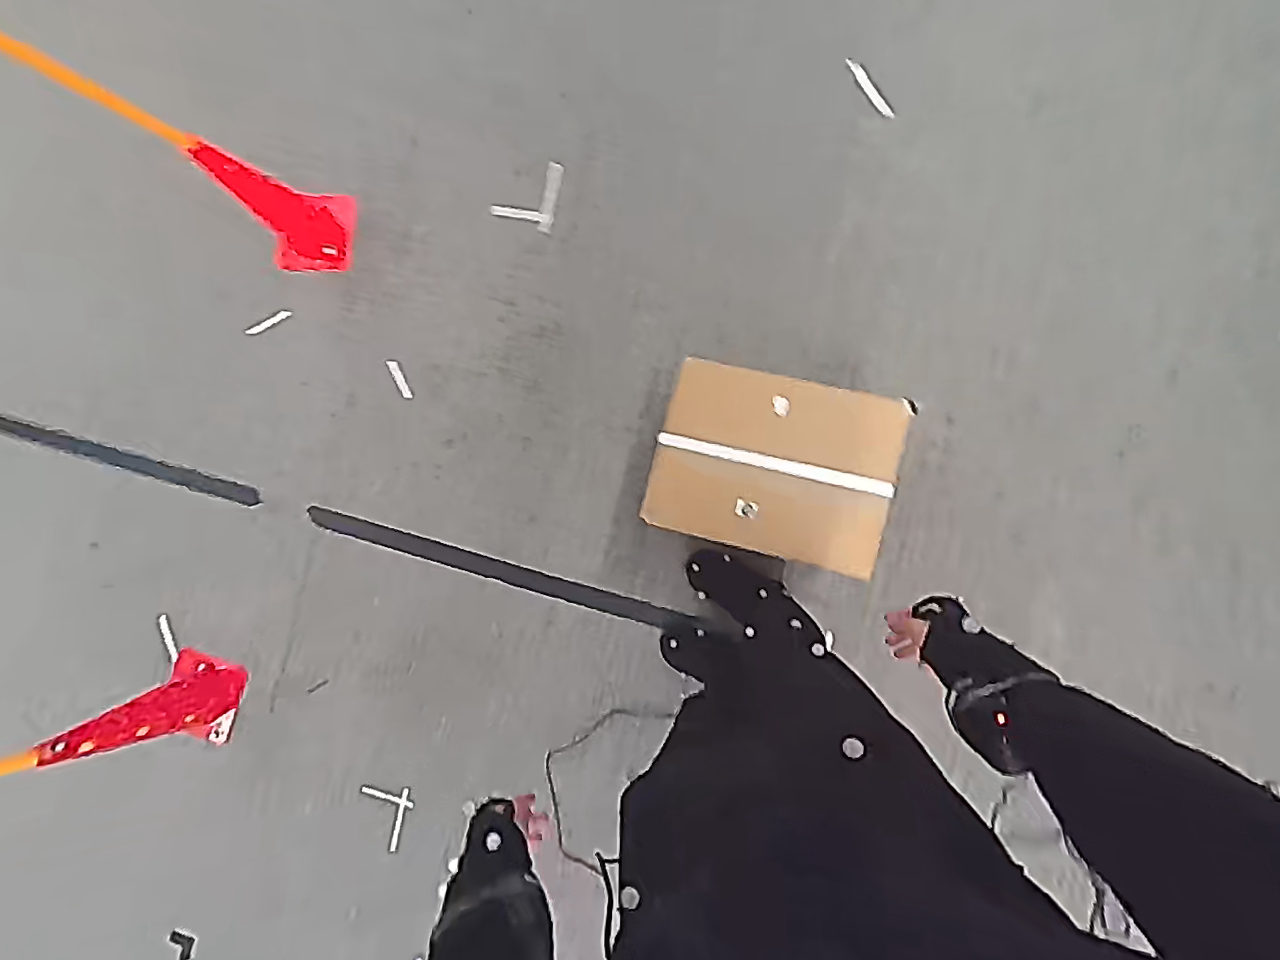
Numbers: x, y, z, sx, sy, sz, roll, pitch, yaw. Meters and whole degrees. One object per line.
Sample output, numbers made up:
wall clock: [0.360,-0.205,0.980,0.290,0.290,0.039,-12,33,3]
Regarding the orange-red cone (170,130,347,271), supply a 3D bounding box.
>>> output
orange-red cone: [-0.861,-0.643,1.202,0.198,0.360,0.199,5,87,6]
